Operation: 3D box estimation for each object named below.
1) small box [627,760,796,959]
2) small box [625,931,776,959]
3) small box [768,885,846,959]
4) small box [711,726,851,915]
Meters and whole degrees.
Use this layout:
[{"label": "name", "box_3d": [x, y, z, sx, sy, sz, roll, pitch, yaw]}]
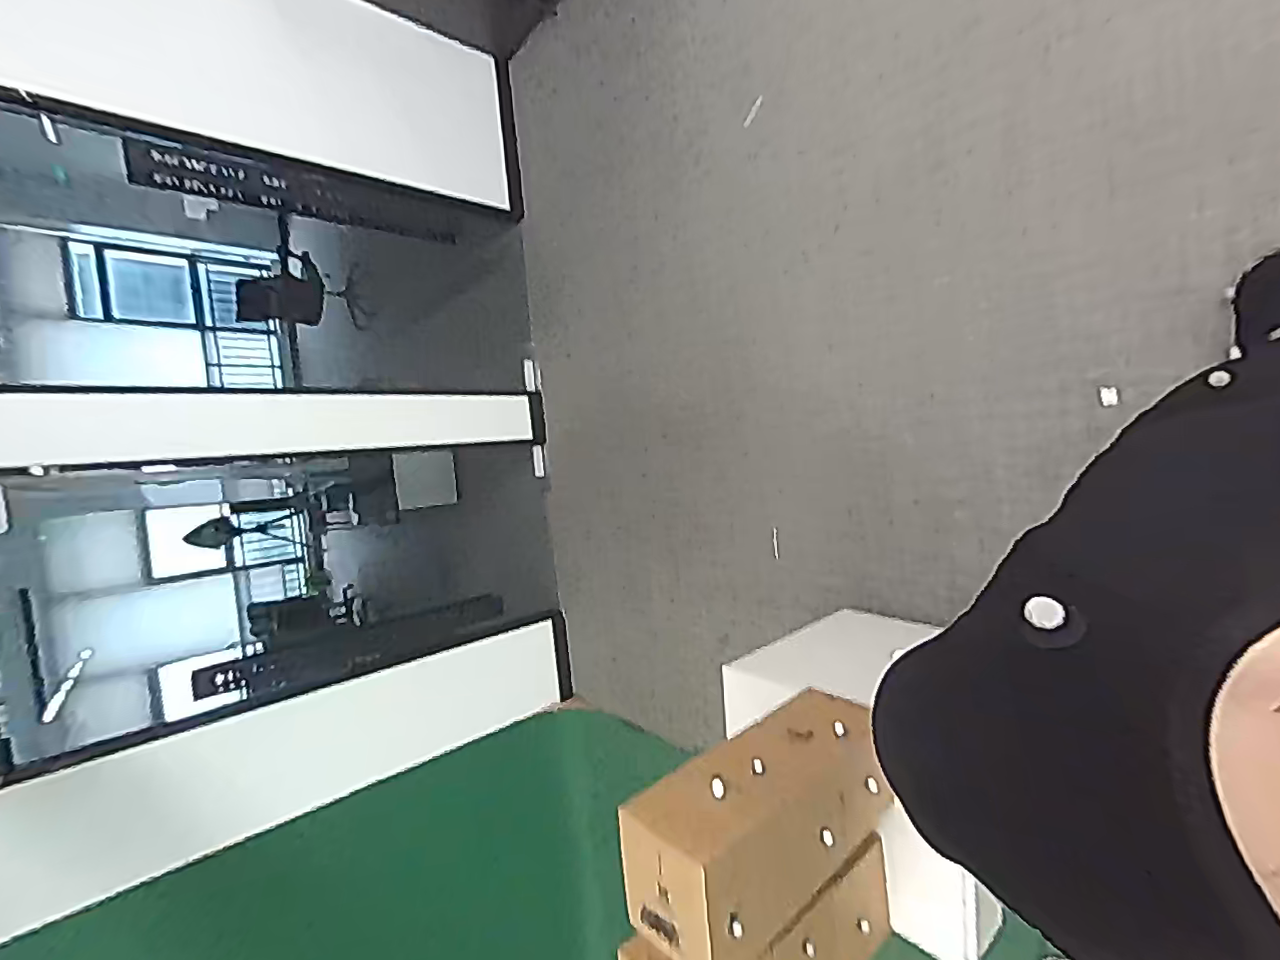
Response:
[{"label": "small box", "box_3d": [0.103, 0.539, 0.763, 0.168, 0.176, 0.179, -1, 95, 49]}, {"label": "small box", "box_3d": [0.100, 0.787, 0.808, 0.168, 0.176, 0.179, -8, 87, 51]}, {"label": "small box", "box_3d": [0.228, 0.773, 0.909, 0.168, 0.176, 0.179, -9, 88, 51]}, {"label": "small box", "box_3d": [0.225, 0.526, 0.872, 0.179, 0.176, 0.168, 0, 96, 50]}]
